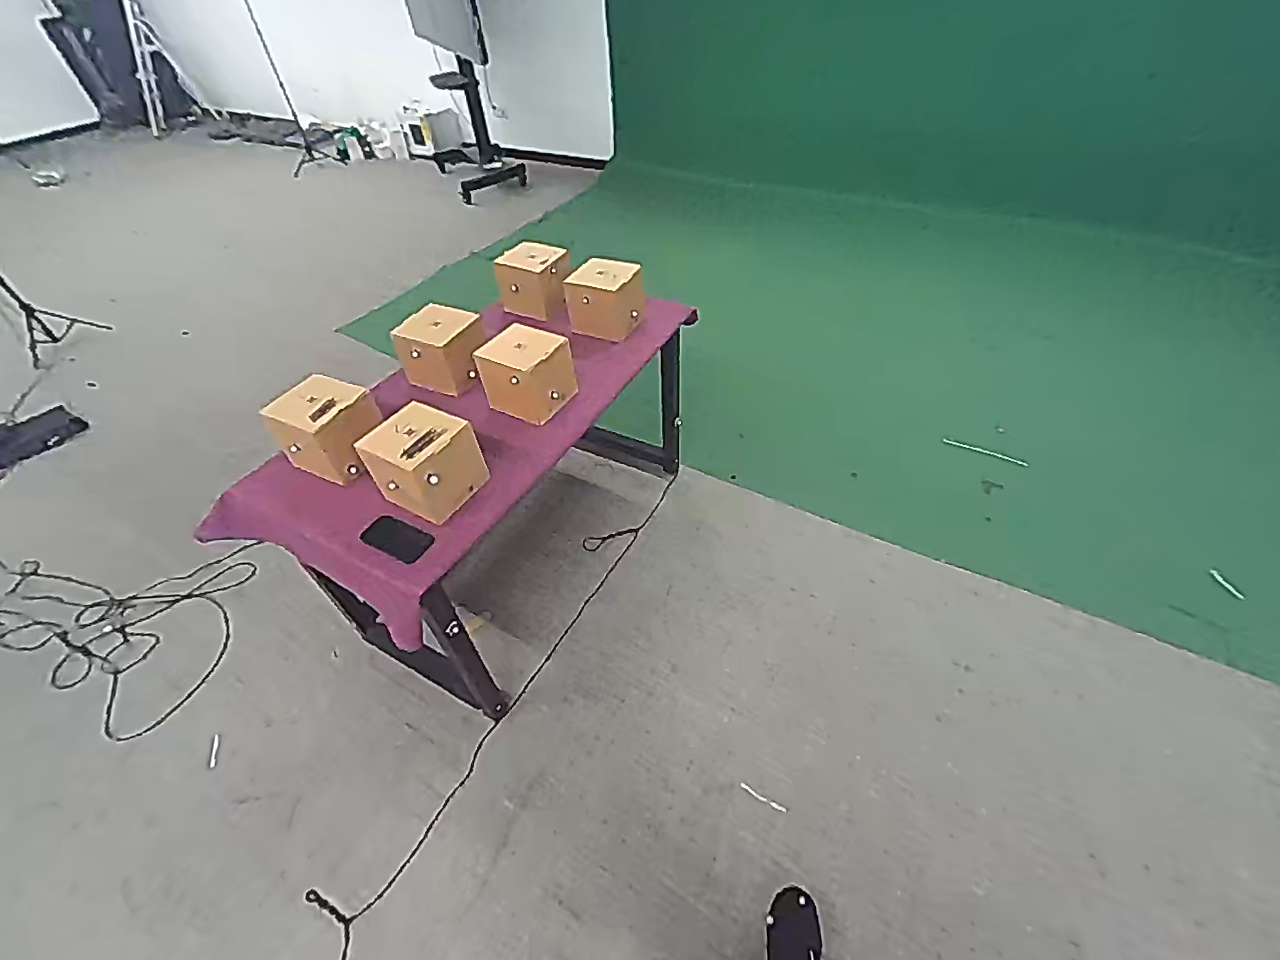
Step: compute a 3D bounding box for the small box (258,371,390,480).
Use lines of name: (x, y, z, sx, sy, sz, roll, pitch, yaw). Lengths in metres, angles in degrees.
small box: (-0.726, -0.124, 1.265, 0.179, 0.176, 0.168, 17, 49, 20)

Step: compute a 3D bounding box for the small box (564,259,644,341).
small box: (-0.102, -0.541, 1.628, 0.179, 0.176, 0.168, 19, 51, 22)

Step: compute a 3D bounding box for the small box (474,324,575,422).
small box: (-0.288, -0.273, 1.386, 0.179, 0.176, 0.168, 22, 51, 23)

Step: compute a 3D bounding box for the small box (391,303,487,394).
small box: (-0.536, -0.357, 1.482, 0.179, 0.176, 0.168, 19, 51, 19)

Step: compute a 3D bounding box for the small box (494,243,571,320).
small box: (-0.334, -0.637, 1.738, 0.179, 0.176, 0.168, 19, 51, 21)
